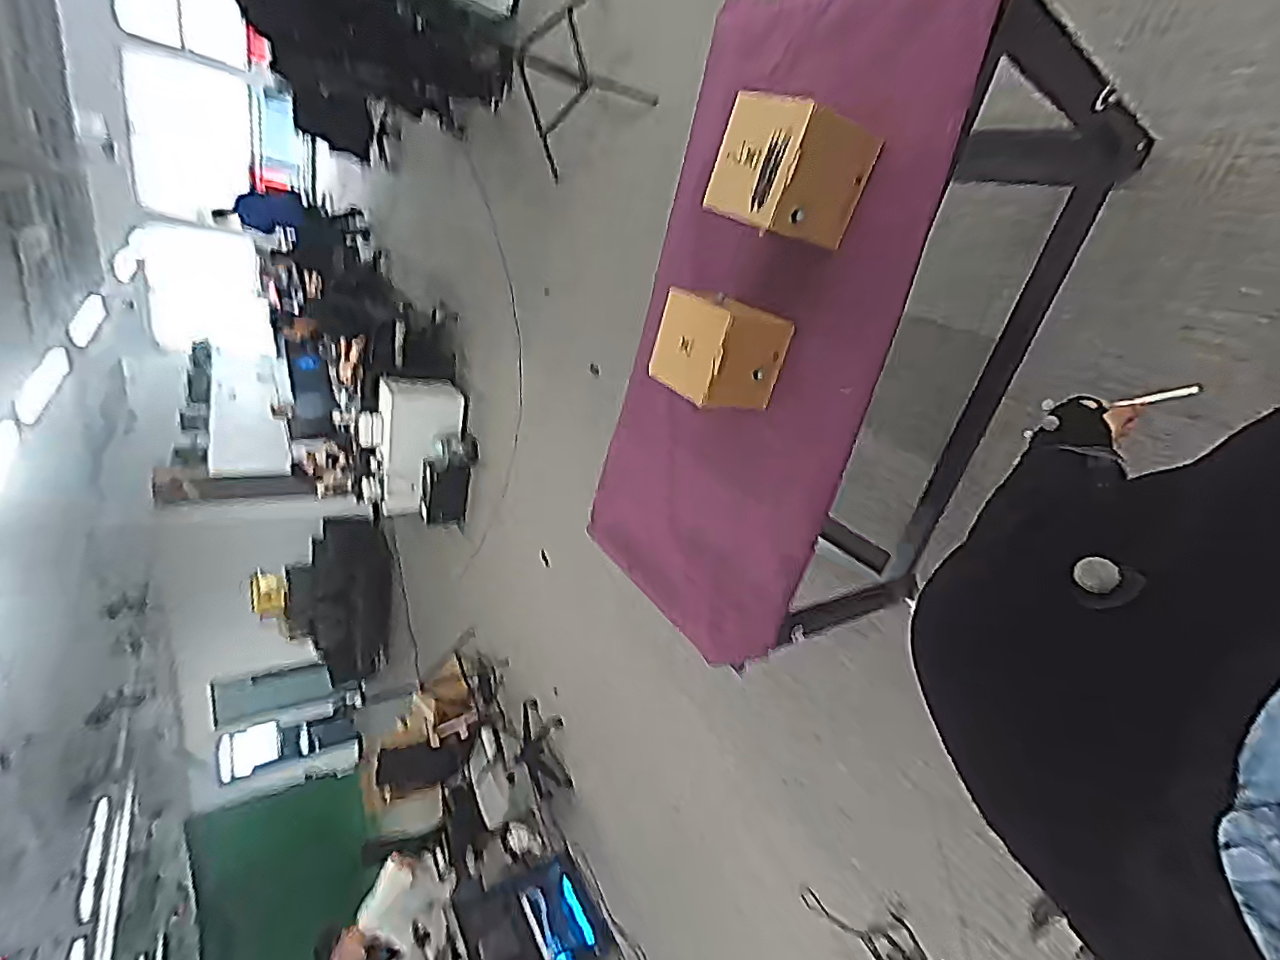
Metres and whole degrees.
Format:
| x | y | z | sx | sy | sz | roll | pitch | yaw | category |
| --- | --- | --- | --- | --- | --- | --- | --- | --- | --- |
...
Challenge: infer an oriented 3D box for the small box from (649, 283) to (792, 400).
| x | y | z | sx | sy | sz | roll | pitch | yaw | category |
| --- | --- | --- | --- | --- | --- | --- | --- | --- | --- |
| 0.148 | -0.255 | 1.016 | 0.179 | 0.176 | 0.168 | 42 | 126 | 43 | small box |
